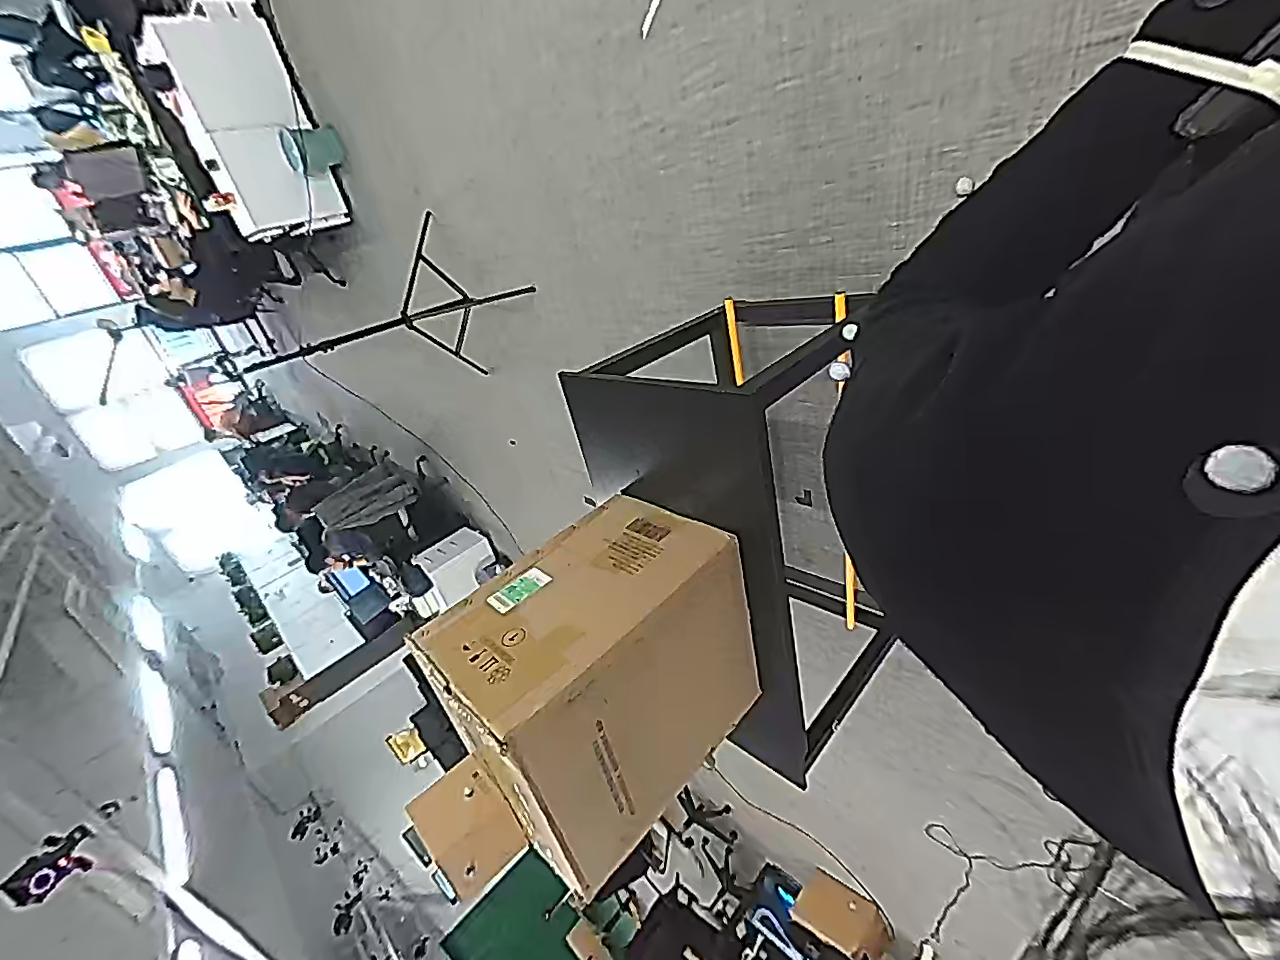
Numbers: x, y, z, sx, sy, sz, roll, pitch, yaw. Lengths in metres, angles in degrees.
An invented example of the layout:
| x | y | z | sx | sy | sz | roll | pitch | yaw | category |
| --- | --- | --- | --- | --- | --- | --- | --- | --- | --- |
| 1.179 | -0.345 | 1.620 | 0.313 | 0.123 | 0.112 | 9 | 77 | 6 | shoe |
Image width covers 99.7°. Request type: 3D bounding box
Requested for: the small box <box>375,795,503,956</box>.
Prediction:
| x | y | z | sx | sy | sz | roll | pitch | yaw | category |
| --- | --- | --- | --- | --- | --- | --- | --- | --- | --- |
| -0.410 | 0.810 | 1.123 | 0.168 | 0.176 | 0.179 | 19 | 131 | 45 | small box |
